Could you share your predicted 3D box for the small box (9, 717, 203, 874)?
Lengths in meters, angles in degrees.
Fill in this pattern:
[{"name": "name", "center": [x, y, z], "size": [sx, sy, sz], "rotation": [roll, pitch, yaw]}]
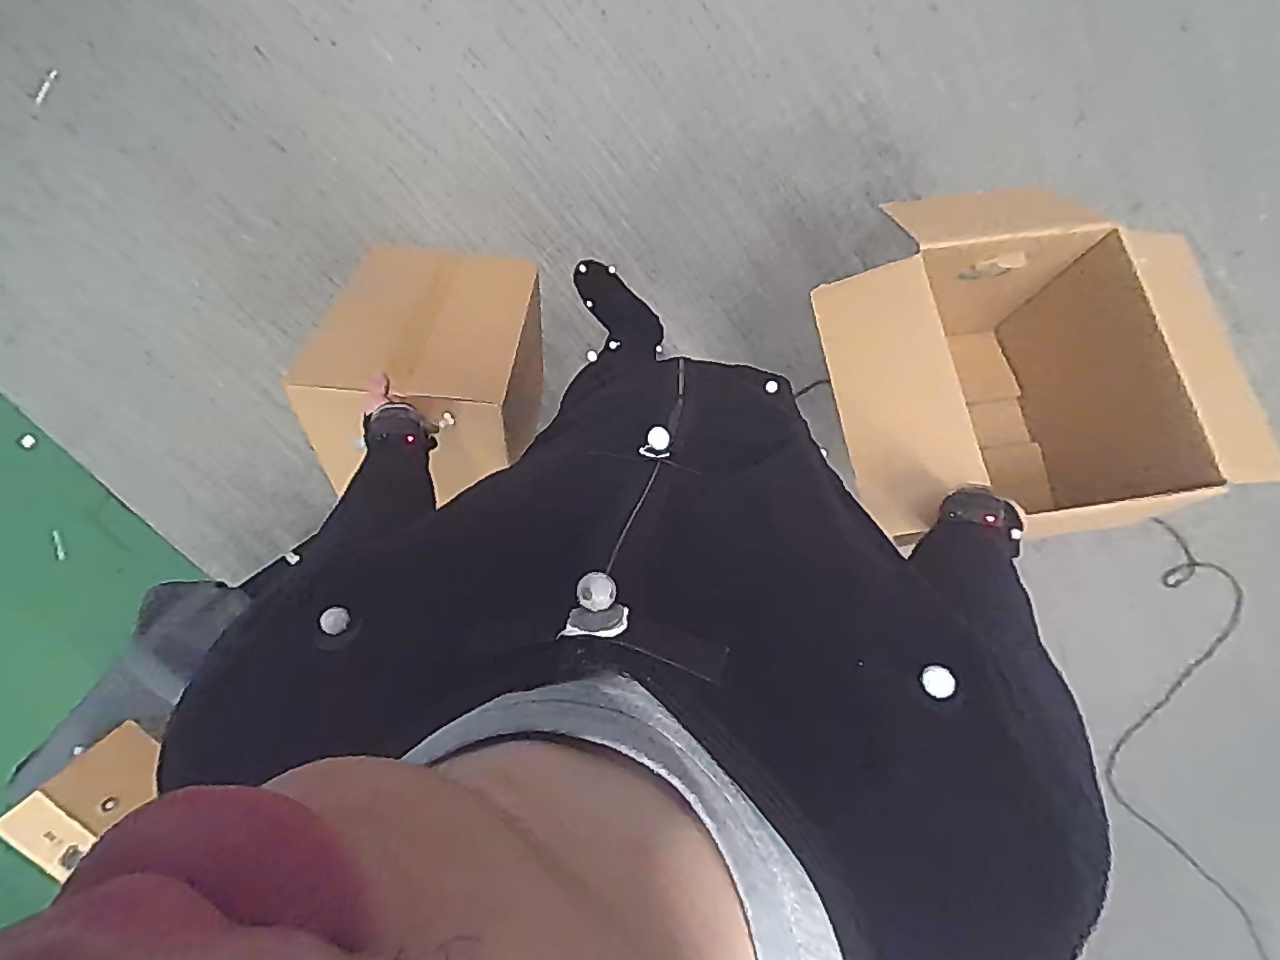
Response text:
[{"name": "small box", "center": [-1.014, 0.601, 1.045], "size": [0.168, 0.176, 0.179], "rotation": [-33, 102, 15]}]
